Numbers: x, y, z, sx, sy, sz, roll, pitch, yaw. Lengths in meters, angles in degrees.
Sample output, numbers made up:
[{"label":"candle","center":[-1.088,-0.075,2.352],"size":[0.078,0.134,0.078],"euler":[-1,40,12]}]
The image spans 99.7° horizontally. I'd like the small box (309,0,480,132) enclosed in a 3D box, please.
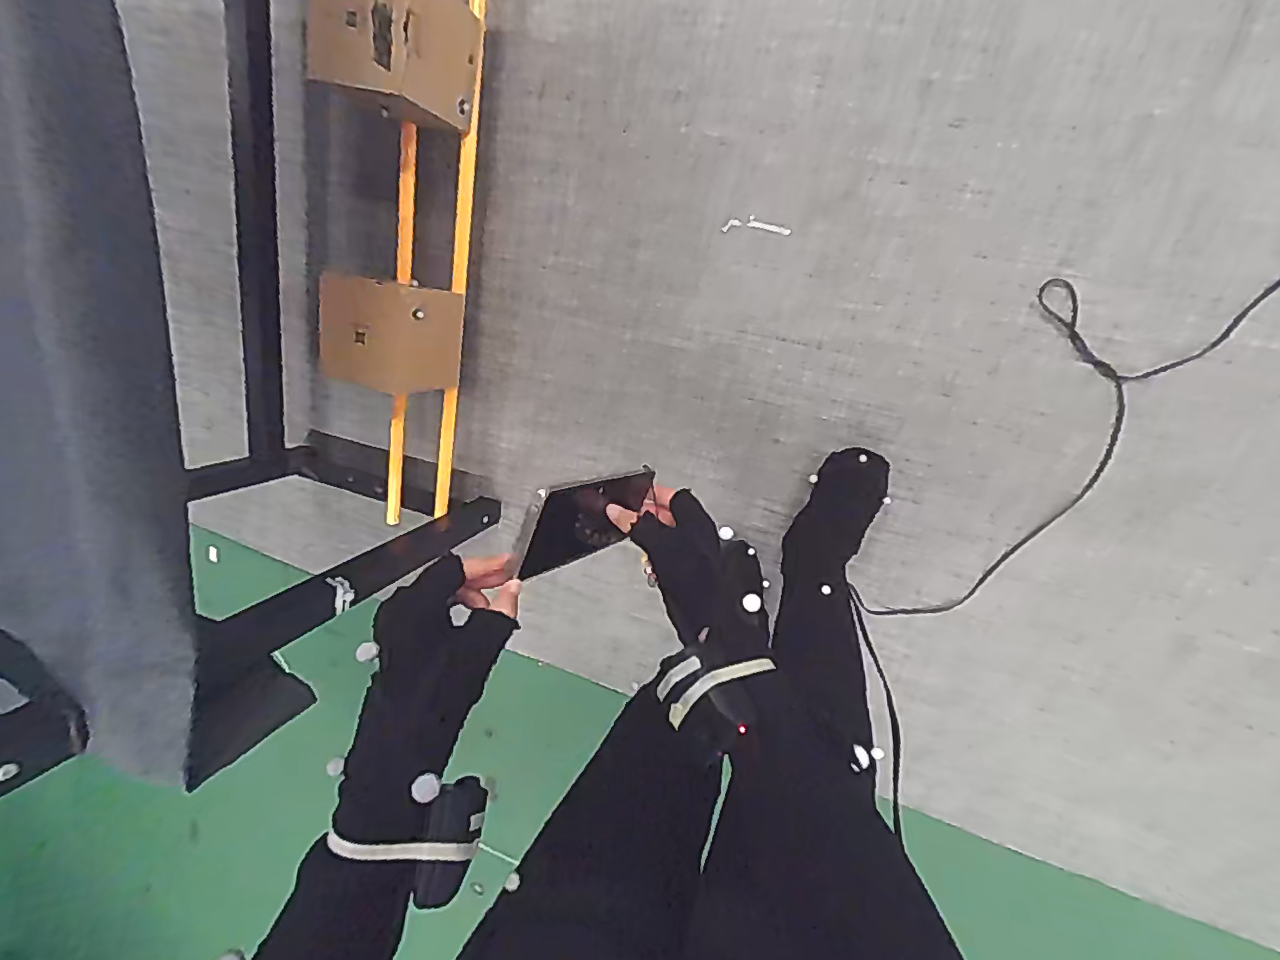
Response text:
[{"label":"small box","center":[-0.371,-0.664,0.835],"size":[0.179,0.176,0.168],"euler":[18,109,13]}]
